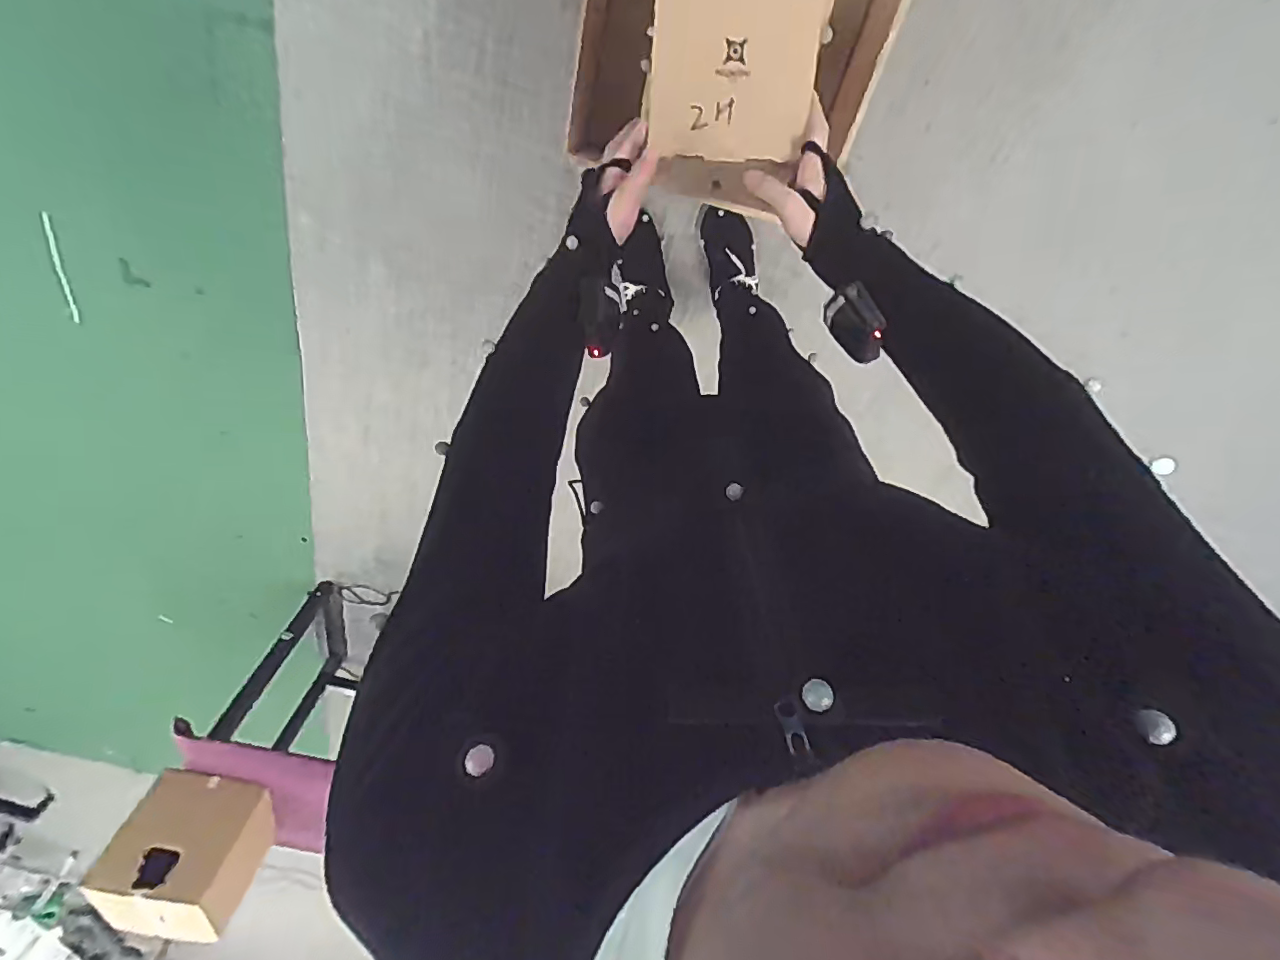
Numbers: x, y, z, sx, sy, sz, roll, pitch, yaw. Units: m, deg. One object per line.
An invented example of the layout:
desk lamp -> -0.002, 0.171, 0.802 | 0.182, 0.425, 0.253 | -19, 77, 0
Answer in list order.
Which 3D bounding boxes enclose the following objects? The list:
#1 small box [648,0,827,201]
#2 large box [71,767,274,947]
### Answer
small box -> 0.101, -0.436, 0.614 | 0.168, 0.176, 0.179 | 5, 107, 5
large box -> -1.376, 1.148, 1.647 | 0.320, 0.320, 0.408 | 16, 125, -8
